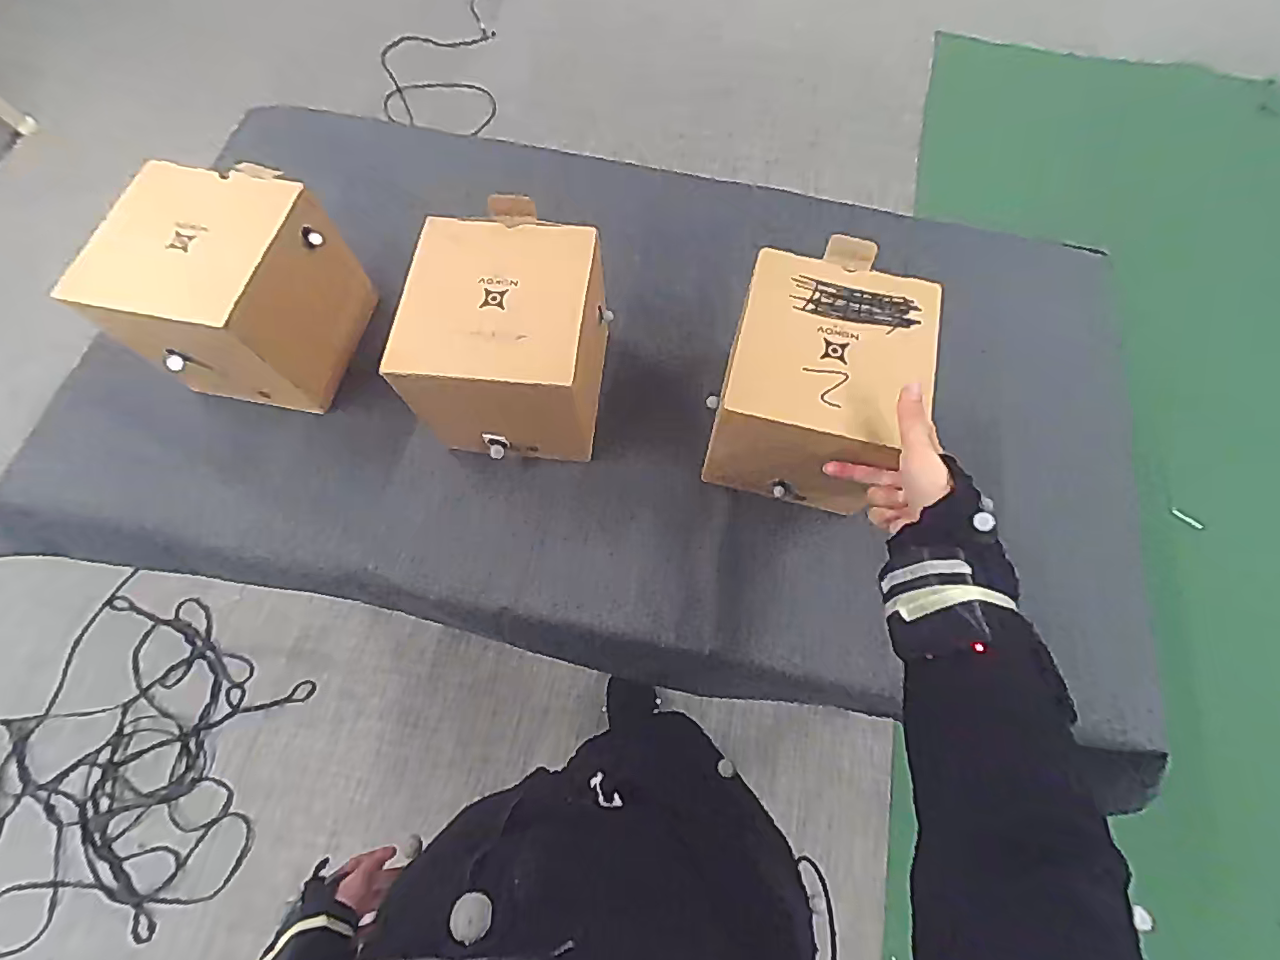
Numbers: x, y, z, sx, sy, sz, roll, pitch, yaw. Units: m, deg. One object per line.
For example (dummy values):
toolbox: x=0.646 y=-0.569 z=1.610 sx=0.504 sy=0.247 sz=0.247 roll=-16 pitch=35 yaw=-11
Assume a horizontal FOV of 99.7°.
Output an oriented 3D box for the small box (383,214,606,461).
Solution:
small box: x=-0.127 y=-0.136 z=0.552 sx=0.168 sy=0.176 sz=0.179 roll=4 pitch=69 yaw=3

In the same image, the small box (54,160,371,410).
small box: x=-0.420 y=-0.195 z=0.572 sx=0.168 sy=0.176 sz=0.179 roll=10 pitch=68 yaw=3
